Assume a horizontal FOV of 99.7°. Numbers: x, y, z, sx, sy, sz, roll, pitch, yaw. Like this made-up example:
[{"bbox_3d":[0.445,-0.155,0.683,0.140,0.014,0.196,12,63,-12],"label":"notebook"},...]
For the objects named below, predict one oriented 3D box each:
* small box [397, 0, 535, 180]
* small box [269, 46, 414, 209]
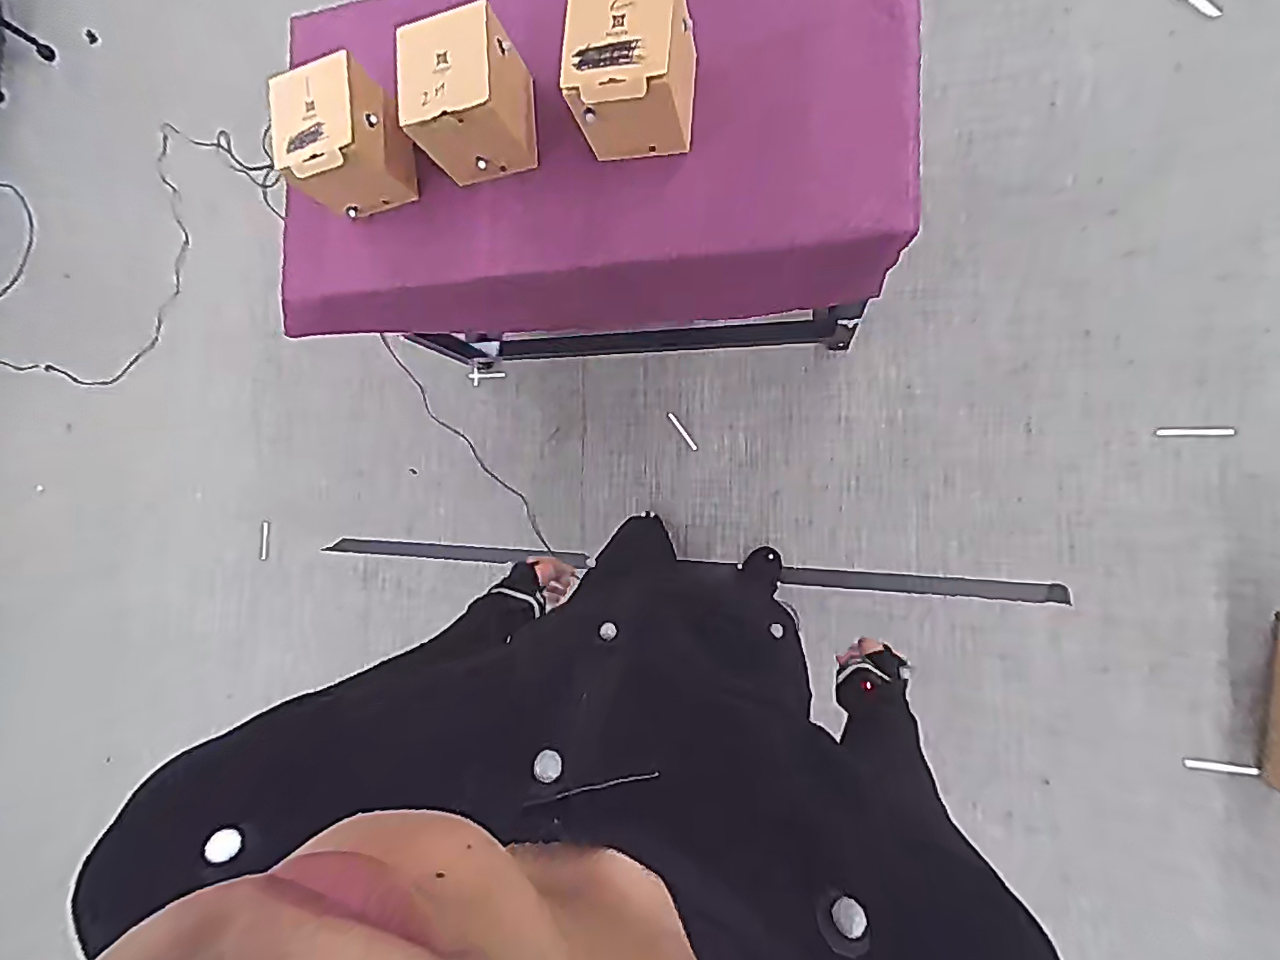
[{"bbox_3d":[-0.293,-0.661,0.932,0.168,0.176,0.179,-4,87,15],"label":"small box"},{"bbox_3d":[-0.539,-0.628,0.996,0.168,0.176,0.179,-8,85,14],"label":"small box"}]
